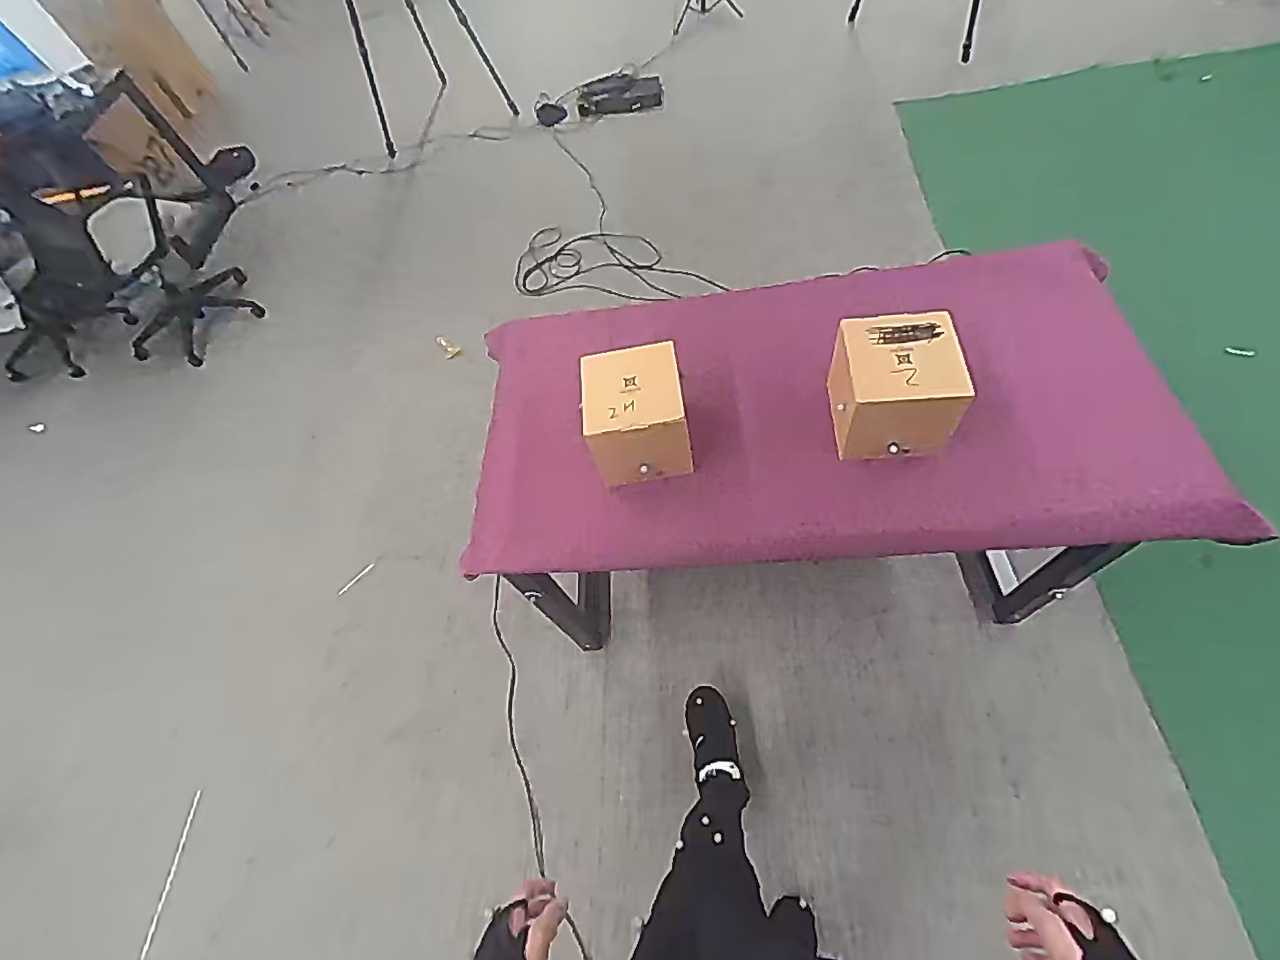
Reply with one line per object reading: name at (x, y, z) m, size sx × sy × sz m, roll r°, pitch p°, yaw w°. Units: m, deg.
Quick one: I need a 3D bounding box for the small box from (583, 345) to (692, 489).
small box at (-0.002, -0.107, 0.954) m, size 0.168 × 0.176 × 0.179 m, roll -8°, pitch 58°, yaw 6°
